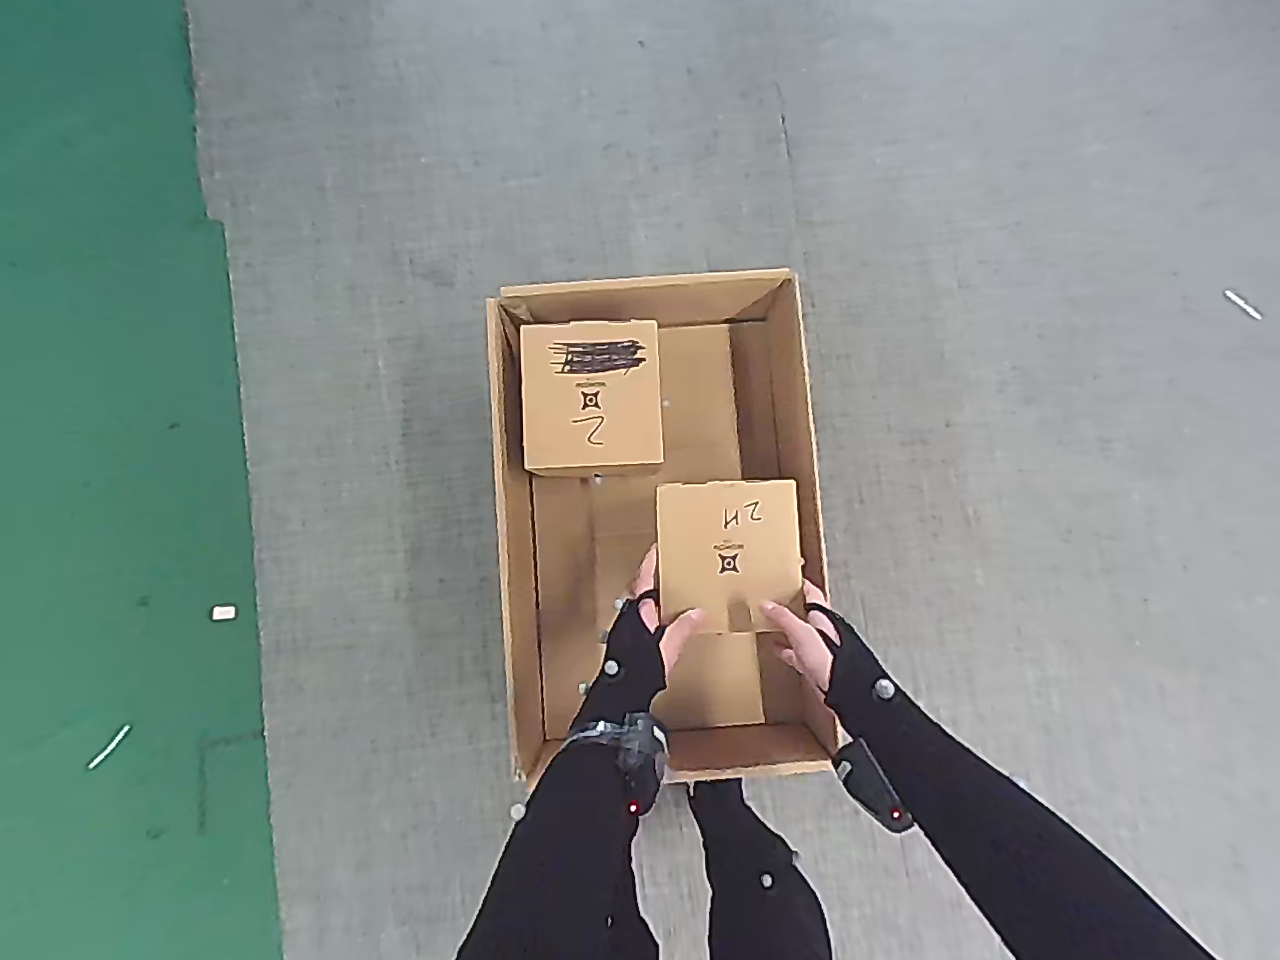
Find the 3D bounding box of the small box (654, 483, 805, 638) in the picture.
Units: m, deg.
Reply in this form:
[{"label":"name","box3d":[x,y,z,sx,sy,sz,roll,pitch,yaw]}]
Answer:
[{"label":"small box","box3d":[0.104,0.097,0.693,0.168,0.176,0.179,-1,84,-1]}]
